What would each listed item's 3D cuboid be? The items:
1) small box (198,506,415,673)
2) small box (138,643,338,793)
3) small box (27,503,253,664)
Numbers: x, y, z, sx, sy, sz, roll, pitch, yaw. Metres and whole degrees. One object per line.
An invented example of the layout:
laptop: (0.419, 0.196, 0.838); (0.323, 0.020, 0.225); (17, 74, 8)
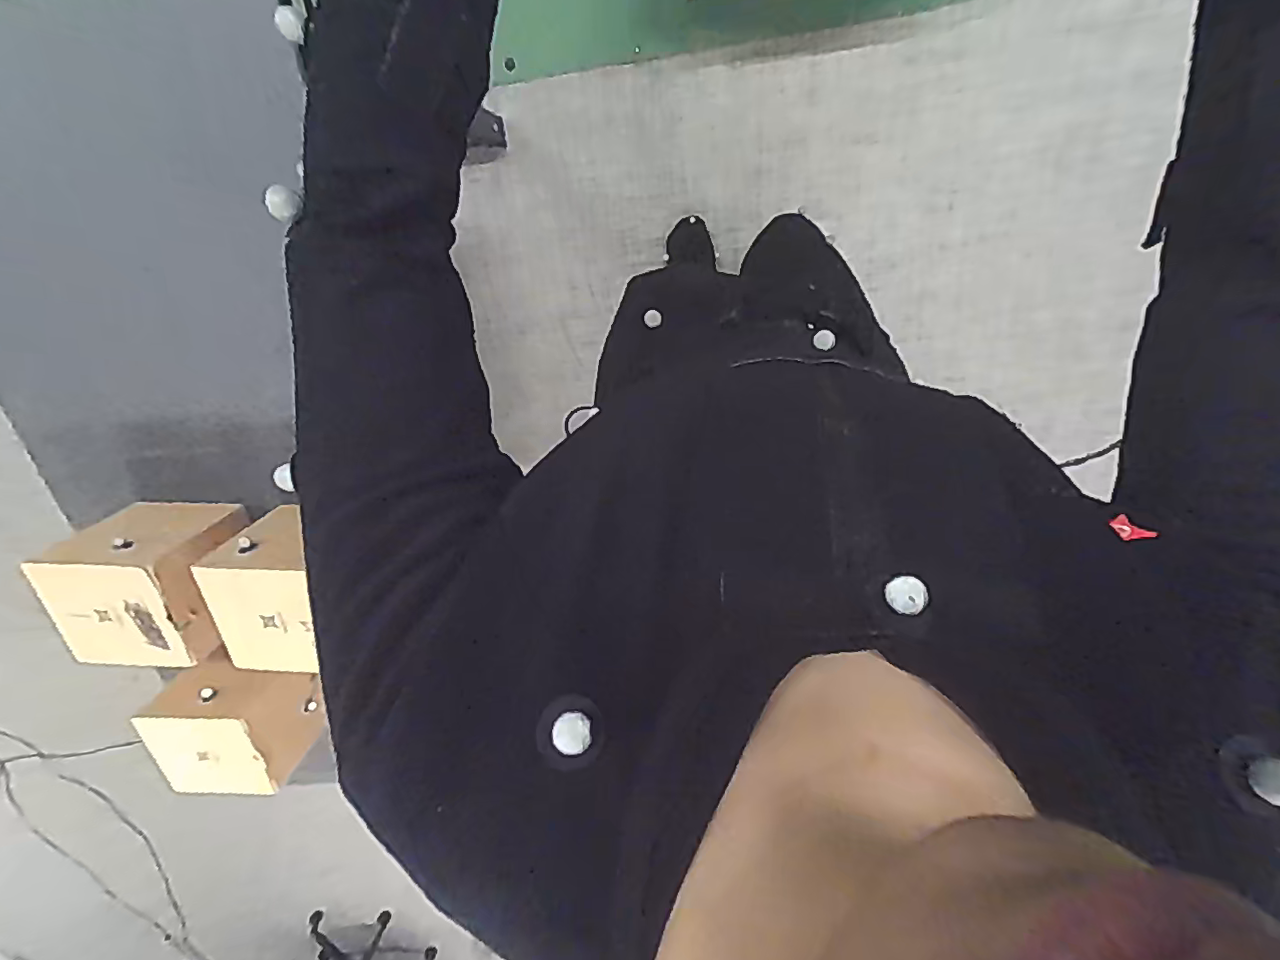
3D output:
small box: (-0.451, 0.145, 0.762); (0.179, 0.176, 0.168); (0, 115, 5)
small box: (-0.644, 0.382, 0.892); (0.179, 0.176, 0.168); (-2, 115, 5)
small box: (-0.680, 0.142, 0.780); (0.179, 0.176, 0.168); (1, 115, 4)
